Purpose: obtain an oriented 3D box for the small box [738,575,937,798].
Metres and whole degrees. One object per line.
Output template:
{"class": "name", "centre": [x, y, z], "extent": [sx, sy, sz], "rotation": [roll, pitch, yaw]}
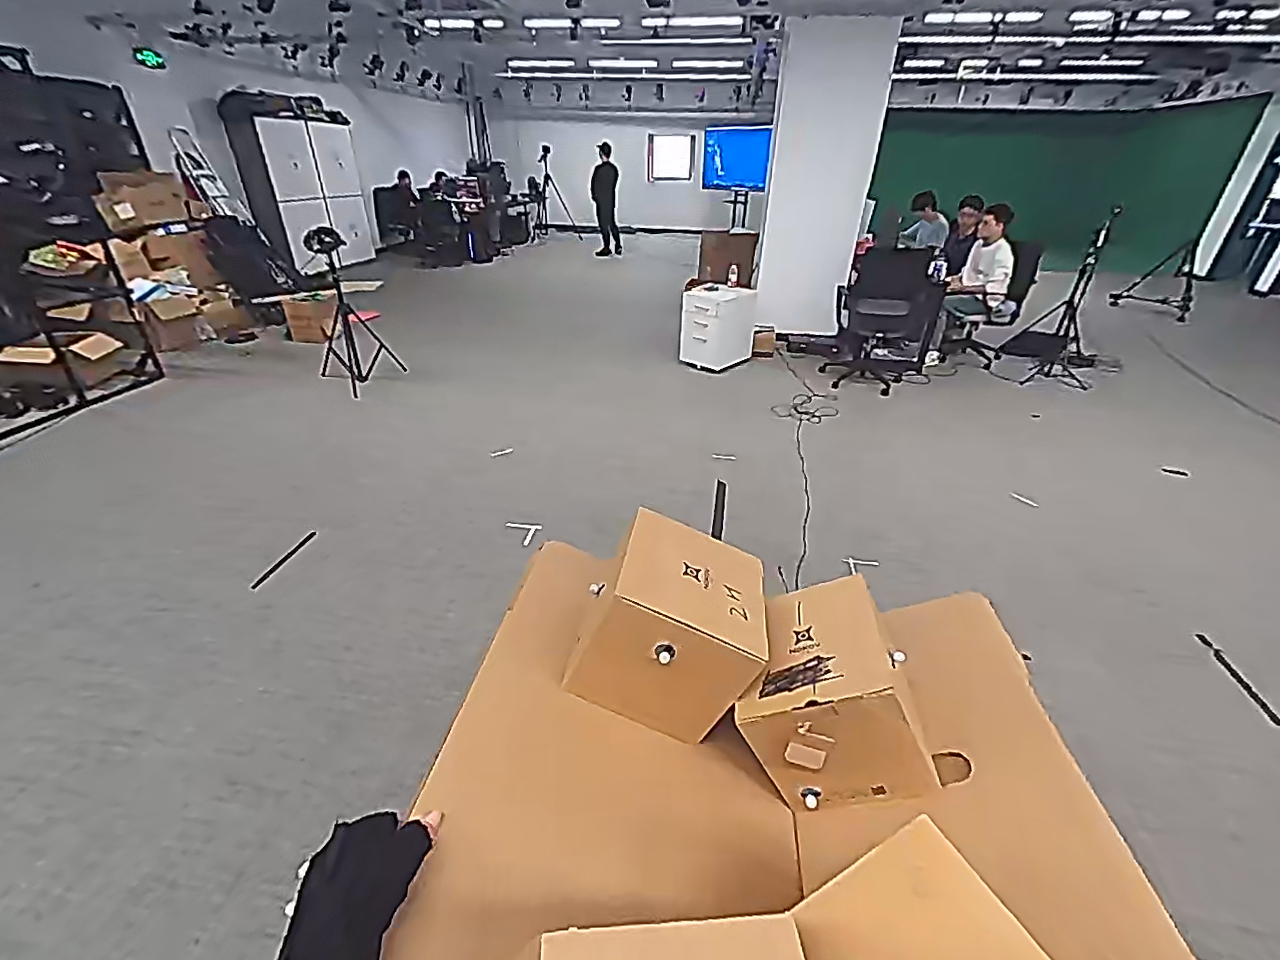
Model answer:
{"class": "small box", "centre": [0.228, 0.250, 0.644], "extent": [0.168, 0.176, 0.179], "rotation": [-22, 22, 22]}
